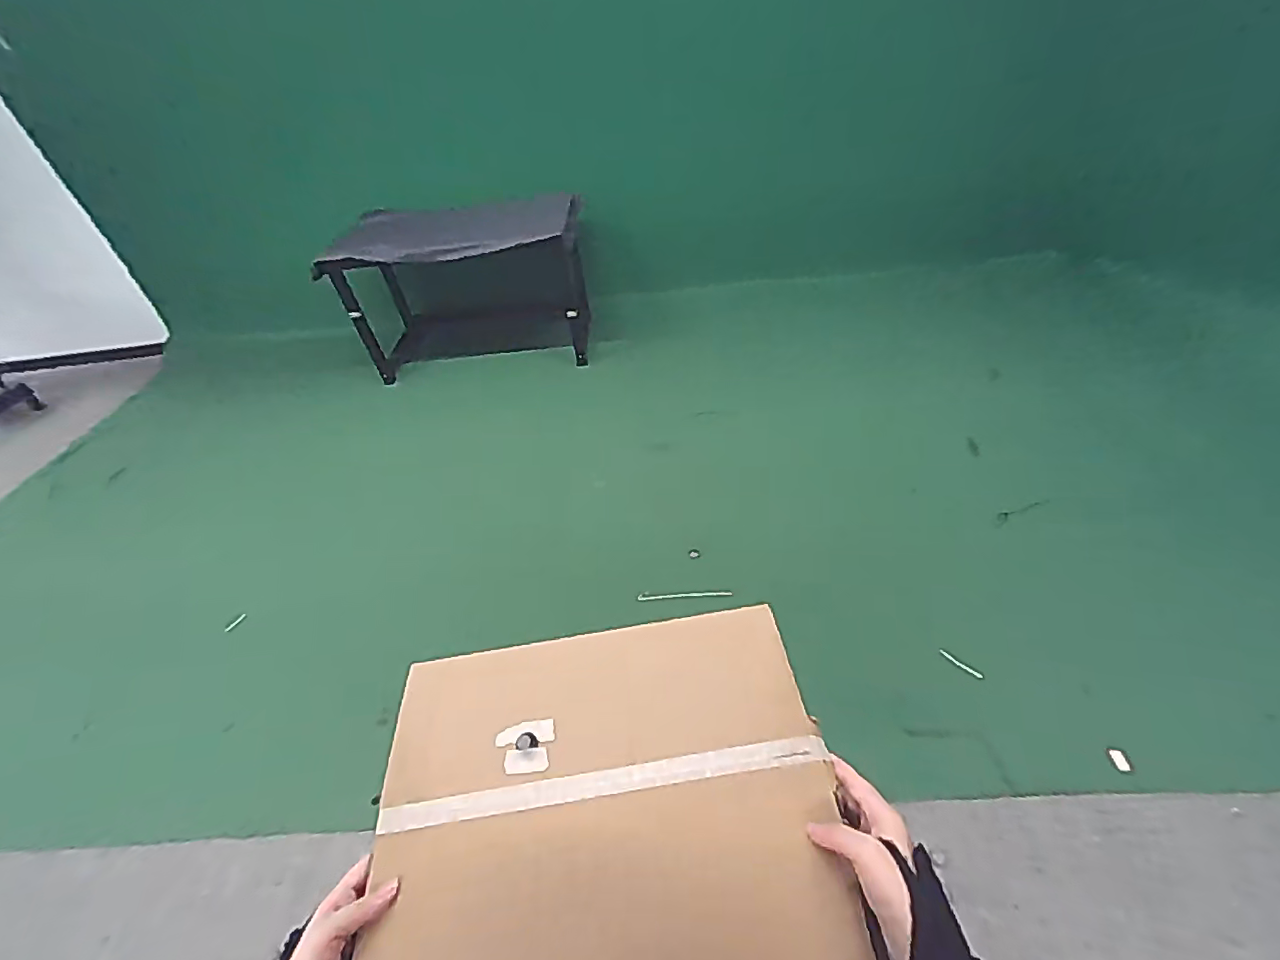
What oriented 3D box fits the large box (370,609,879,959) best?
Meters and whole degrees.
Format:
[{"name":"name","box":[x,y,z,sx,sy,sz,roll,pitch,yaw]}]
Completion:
[{"name":"large box","box":[-0.012,0.392,0.605,0.408,0.320,0.320,-12,43,2]}]
